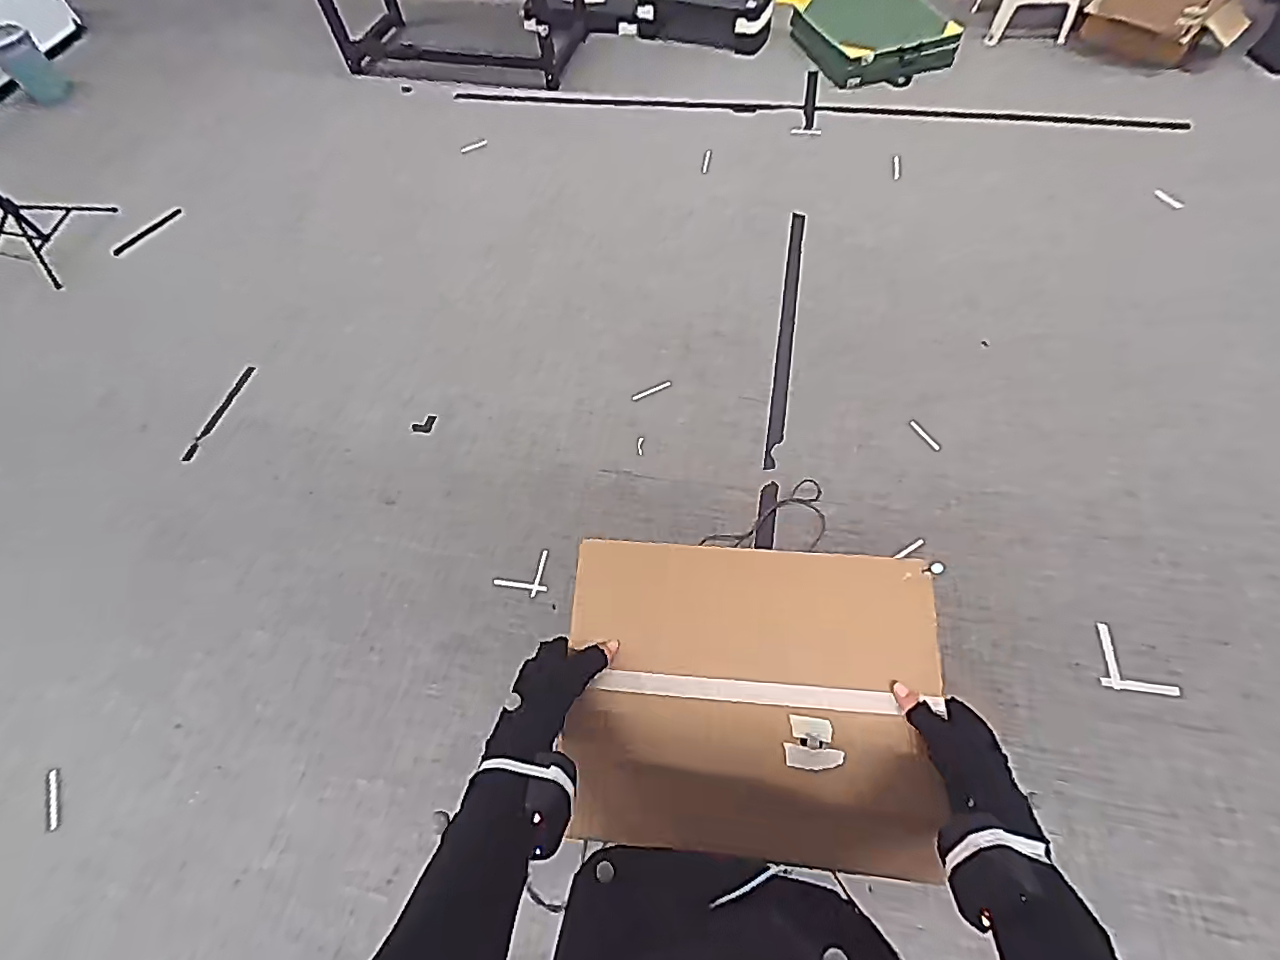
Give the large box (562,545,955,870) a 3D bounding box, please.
[{"bbox_3d":[0.136,0.285,0.739,0.408,0.320,0.320,3,70,7],"label":"large box"}]
